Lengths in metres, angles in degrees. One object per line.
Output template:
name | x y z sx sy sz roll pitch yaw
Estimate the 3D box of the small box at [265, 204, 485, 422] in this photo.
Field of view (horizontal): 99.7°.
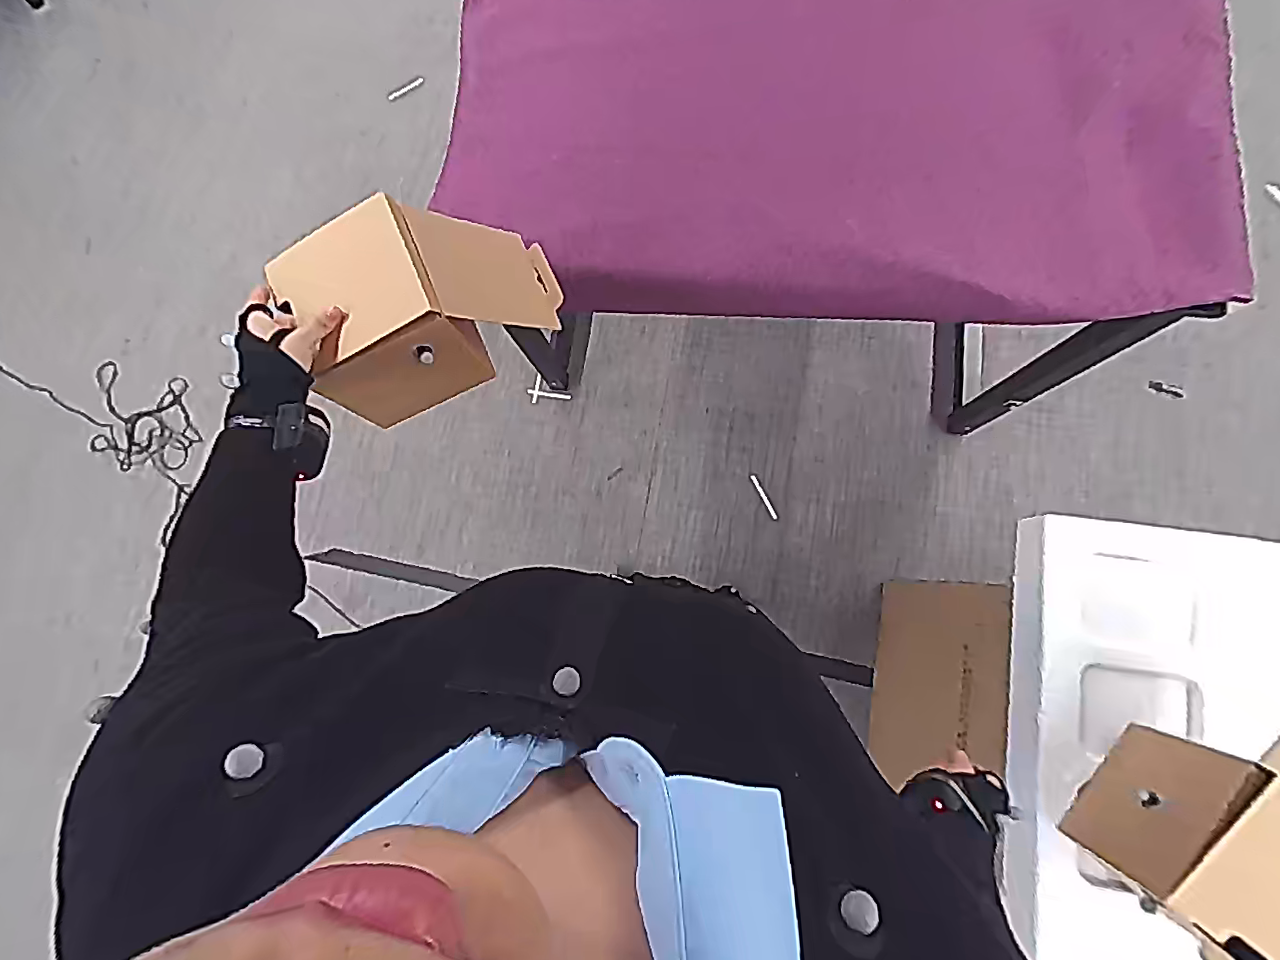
small box | -0.316 -0.198 0.685 0.179 0.176 0.168 -25 76 1
